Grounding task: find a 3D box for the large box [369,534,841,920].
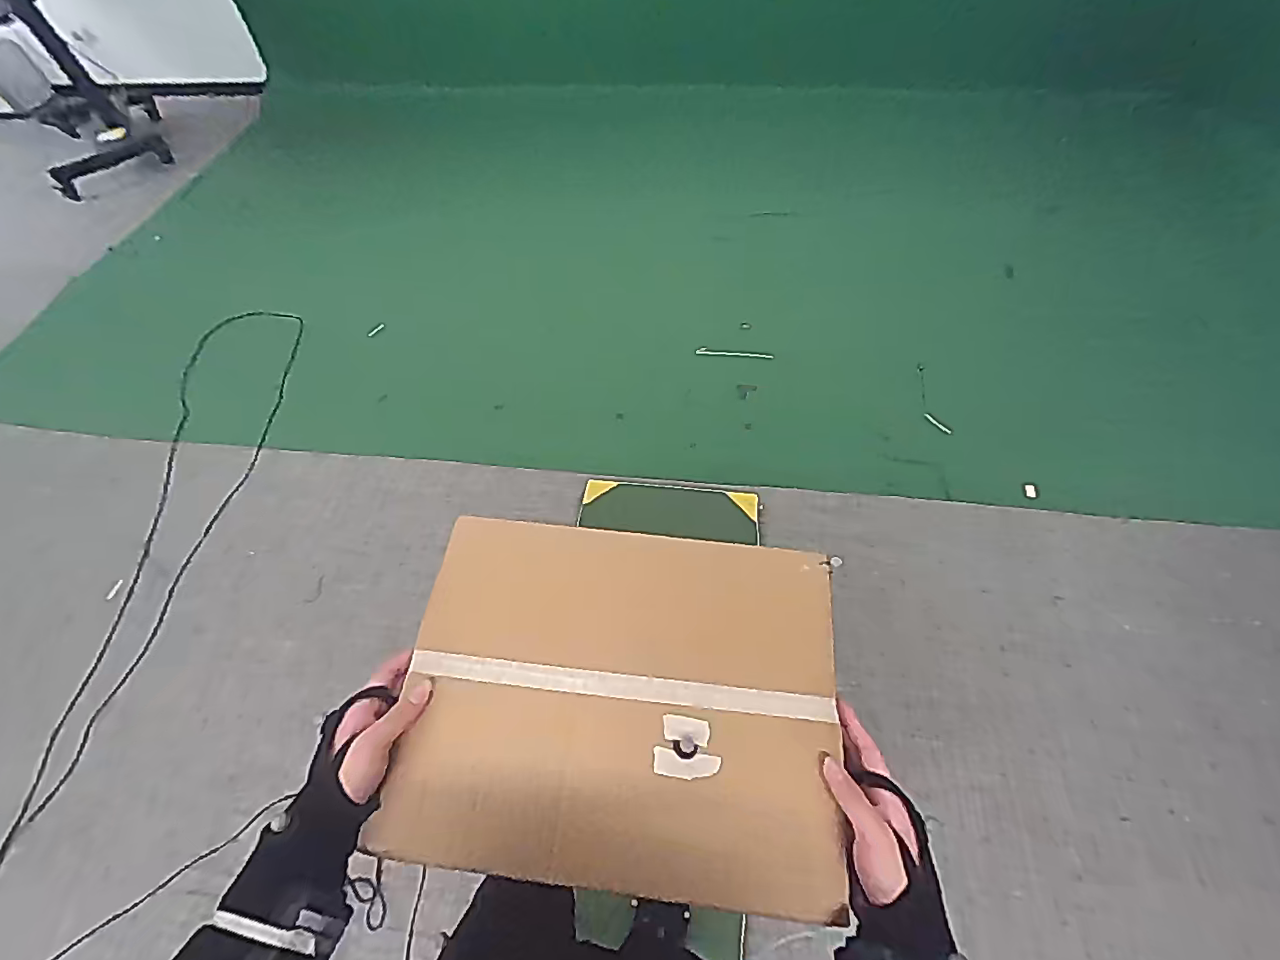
[{"bbox_3d":[-0.021,0.283,0.648,0.408,0.320,0.320,6,61,3],"label":"large box"}]
